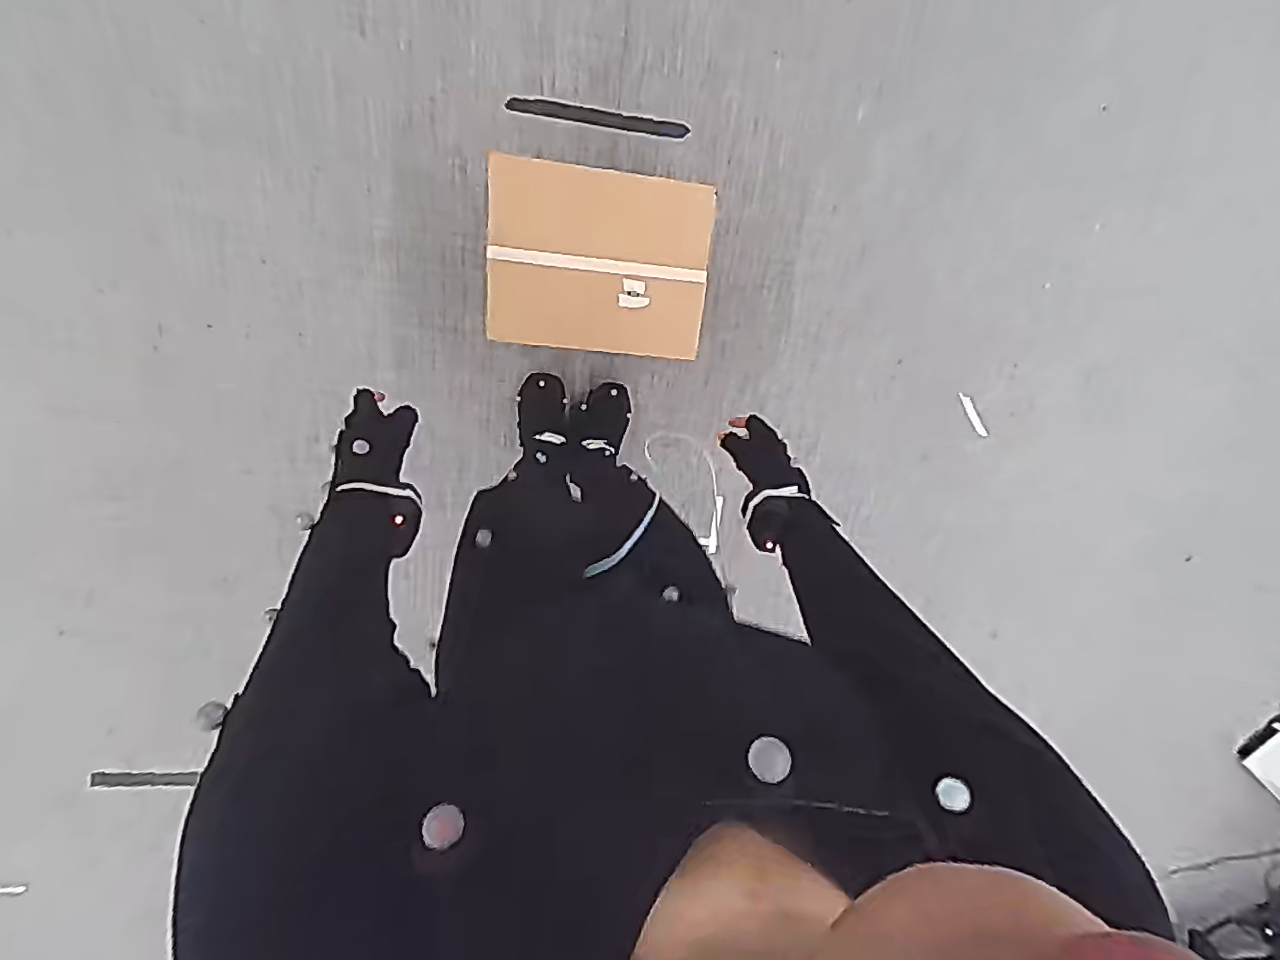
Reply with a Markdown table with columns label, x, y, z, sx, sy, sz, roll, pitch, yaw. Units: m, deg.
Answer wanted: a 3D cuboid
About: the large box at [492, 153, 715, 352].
| label | x | y | z | sx | sy | sz | roll | pitch | yaw |
| --- | --- | --- | --- | --- | --- | --- | --- | --- | --- |
| large box | -0.093 | -0.457 | 1.145 | 0.408 | 0.320 | 0.320 | 3 | 109 | -10 |
